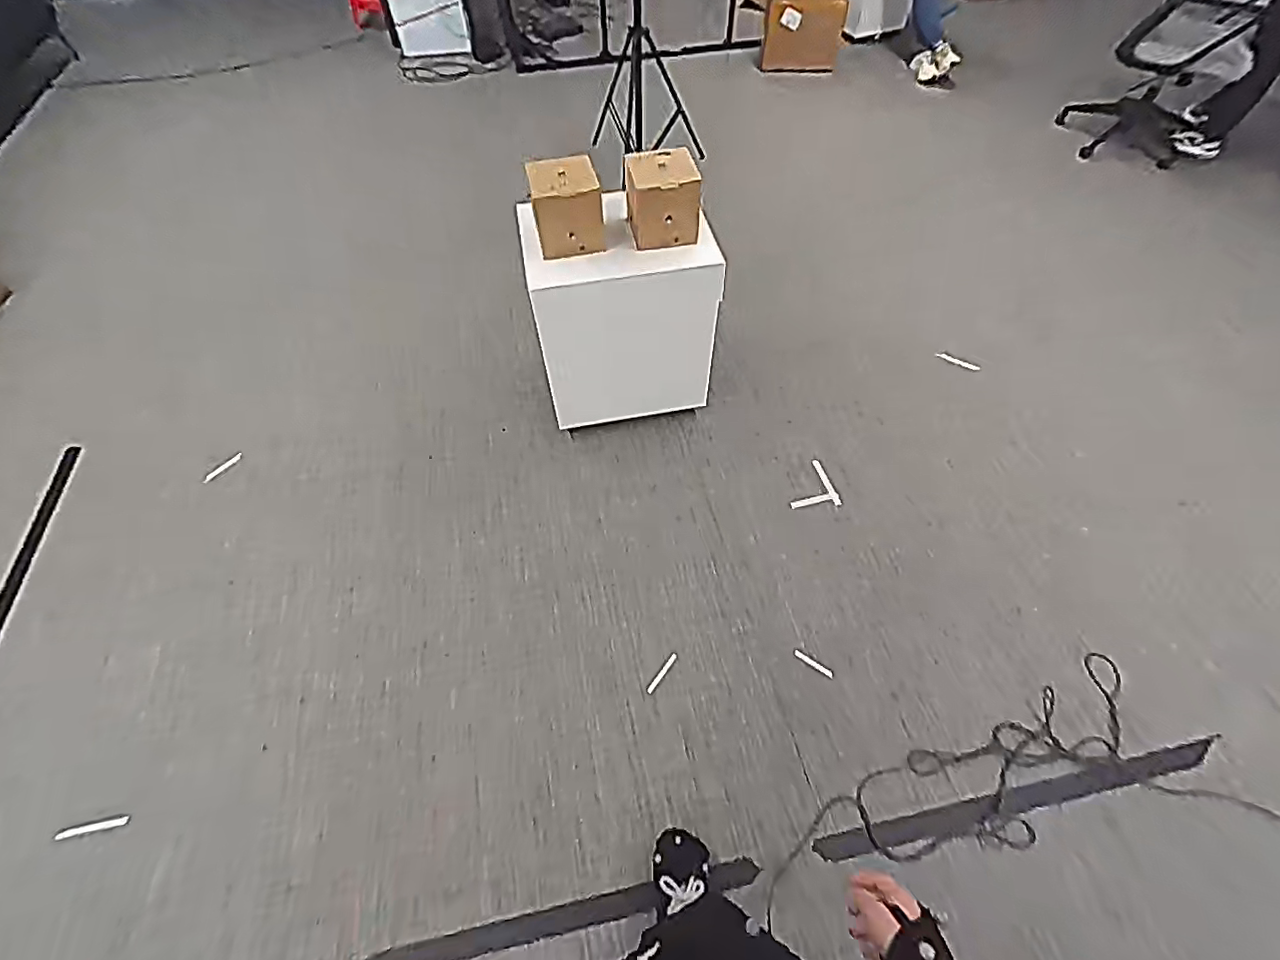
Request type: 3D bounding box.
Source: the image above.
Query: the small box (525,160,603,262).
[{"bbox_3d":[-0.195,-0.694,1.399,0.168,0.176,0.179,-12,57,-7],"label":"small box"}]

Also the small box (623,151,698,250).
[{"bbox_3d":[0.053,-0.723,1.414,0.168,0.176,0.179,-9,58,-4],"label":"small box"}]
